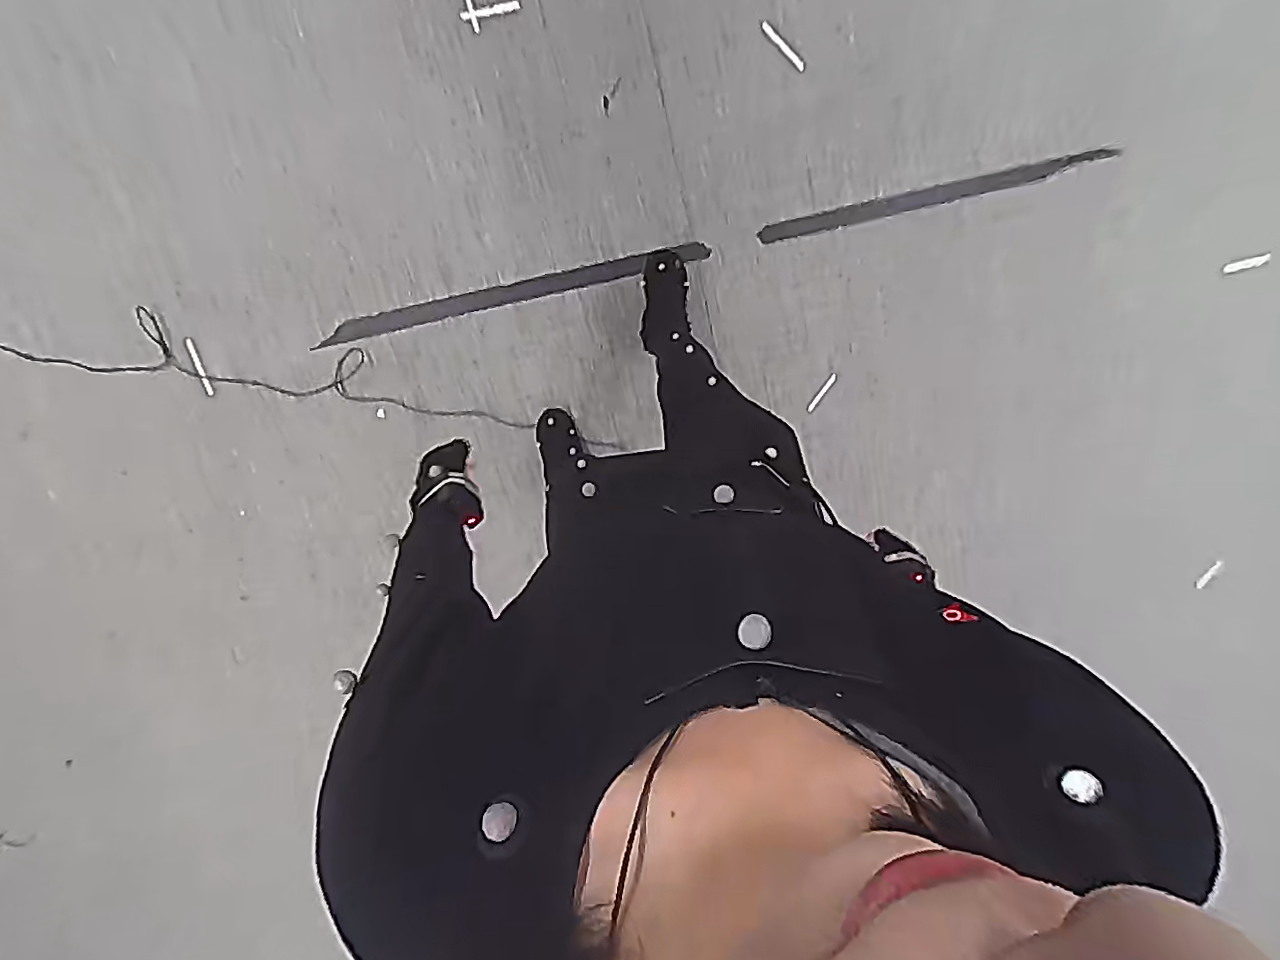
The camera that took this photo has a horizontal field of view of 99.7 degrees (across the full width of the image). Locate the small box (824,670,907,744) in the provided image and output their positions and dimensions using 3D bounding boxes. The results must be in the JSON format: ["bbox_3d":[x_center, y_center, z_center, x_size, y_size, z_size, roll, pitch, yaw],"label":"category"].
[{"bbox_3d":[0.682,0.716,1.645,0.168,0.176,0.179,-16,104,-3],"label":"small box"}]

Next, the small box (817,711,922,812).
[{"bbox_3d":[0.617,0.762,1.480,0.179,0.176,0.168,17,102,-12],"label":"small box"}]
